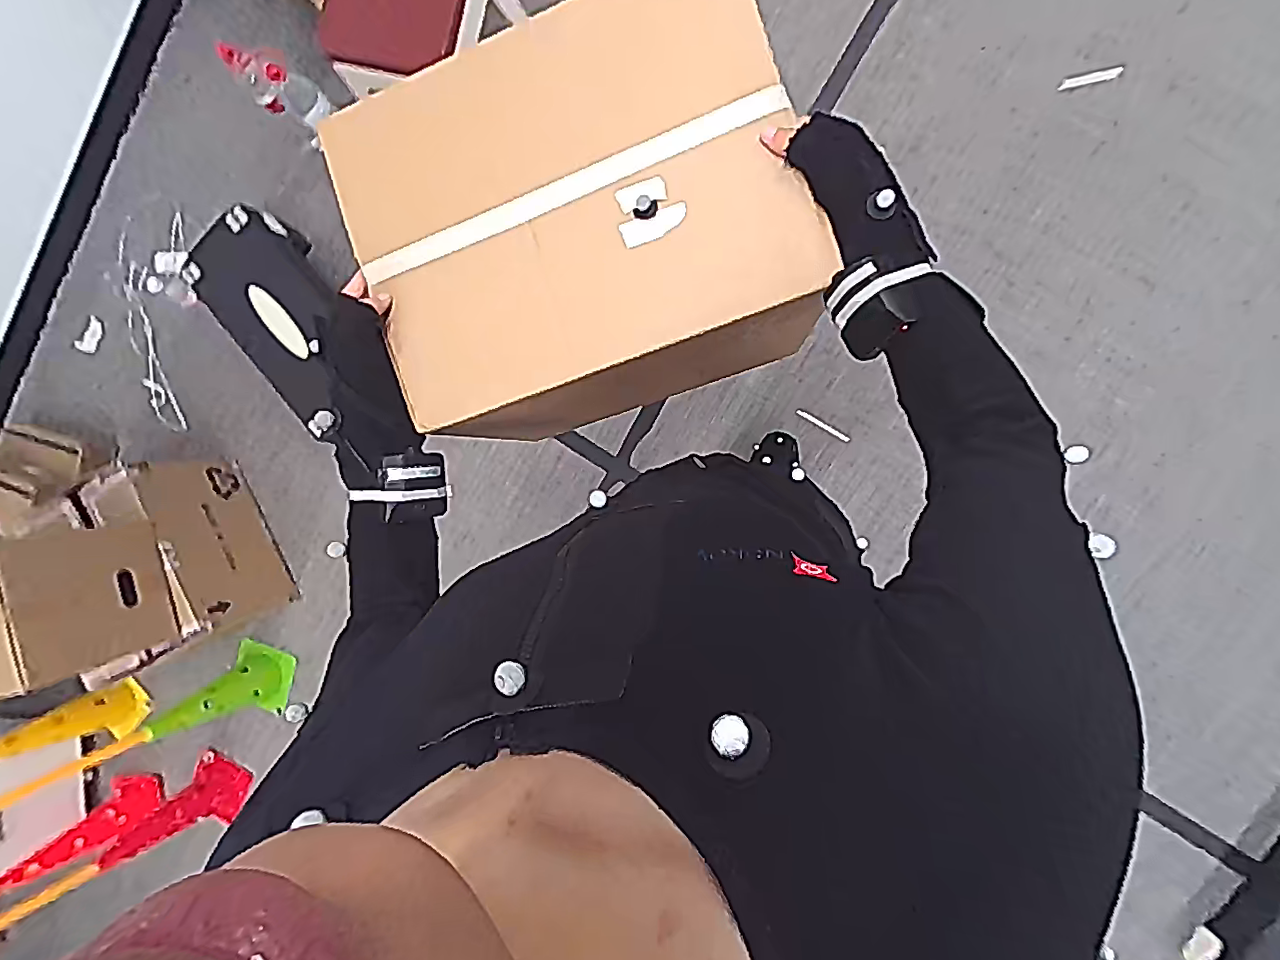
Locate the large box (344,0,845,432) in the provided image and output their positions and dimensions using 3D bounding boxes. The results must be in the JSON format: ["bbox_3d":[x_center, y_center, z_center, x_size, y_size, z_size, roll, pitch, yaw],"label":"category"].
[{"bbox_3d":[-0.035,-0.269,0.631,0.408,0.320,0.320,-17,90,9],"label":"large box"}]
